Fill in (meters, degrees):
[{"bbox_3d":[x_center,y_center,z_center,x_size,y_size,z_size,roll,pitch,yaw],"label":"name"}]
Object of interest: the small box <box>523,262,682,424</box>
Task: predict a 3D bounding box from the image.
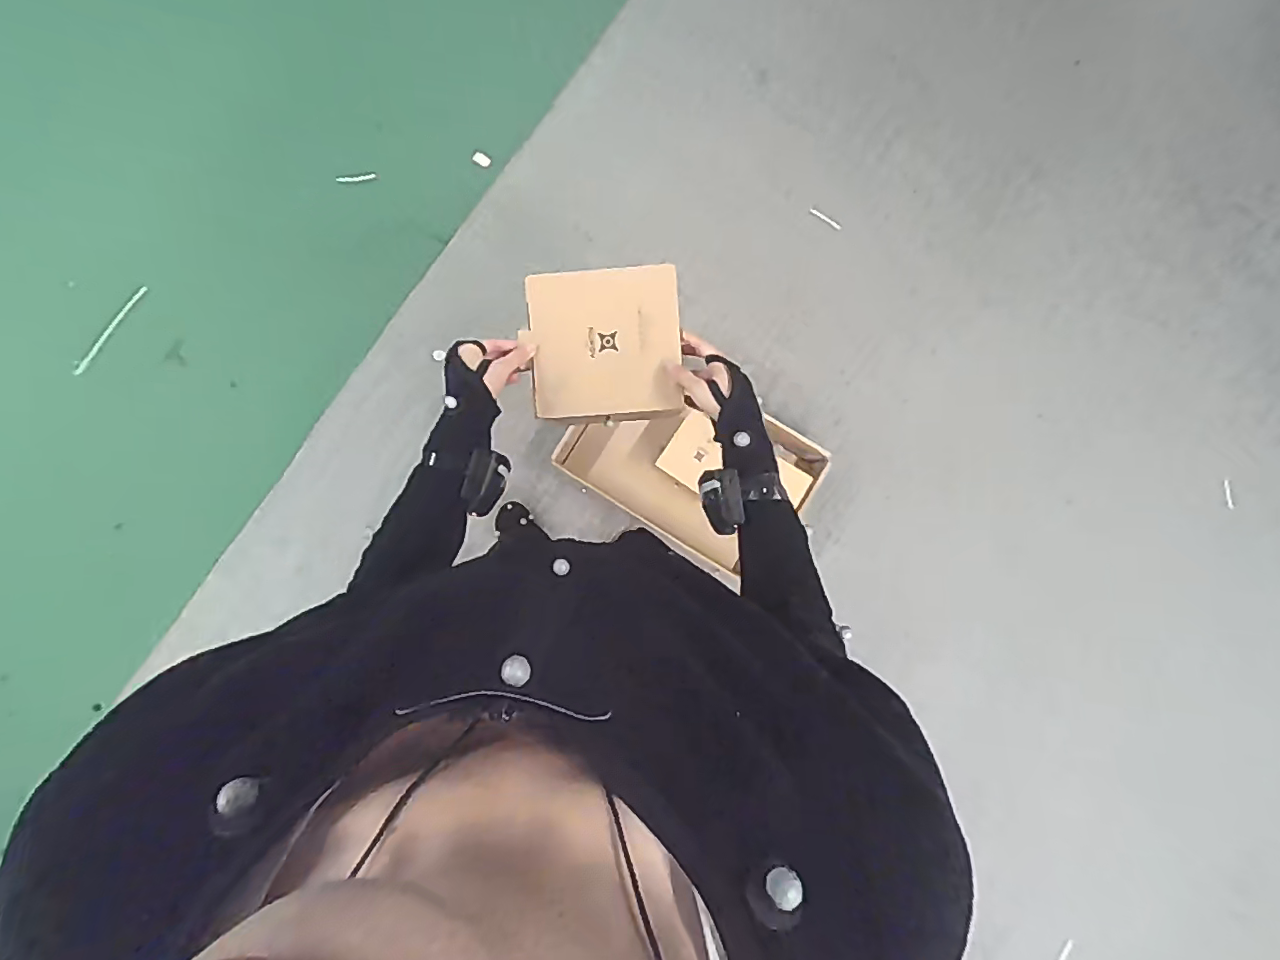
[{"bbox_3d":[-0.040,-0.163,0.697,0.179,0.176,0.168,-4,93,2],"label":"small box"}]
